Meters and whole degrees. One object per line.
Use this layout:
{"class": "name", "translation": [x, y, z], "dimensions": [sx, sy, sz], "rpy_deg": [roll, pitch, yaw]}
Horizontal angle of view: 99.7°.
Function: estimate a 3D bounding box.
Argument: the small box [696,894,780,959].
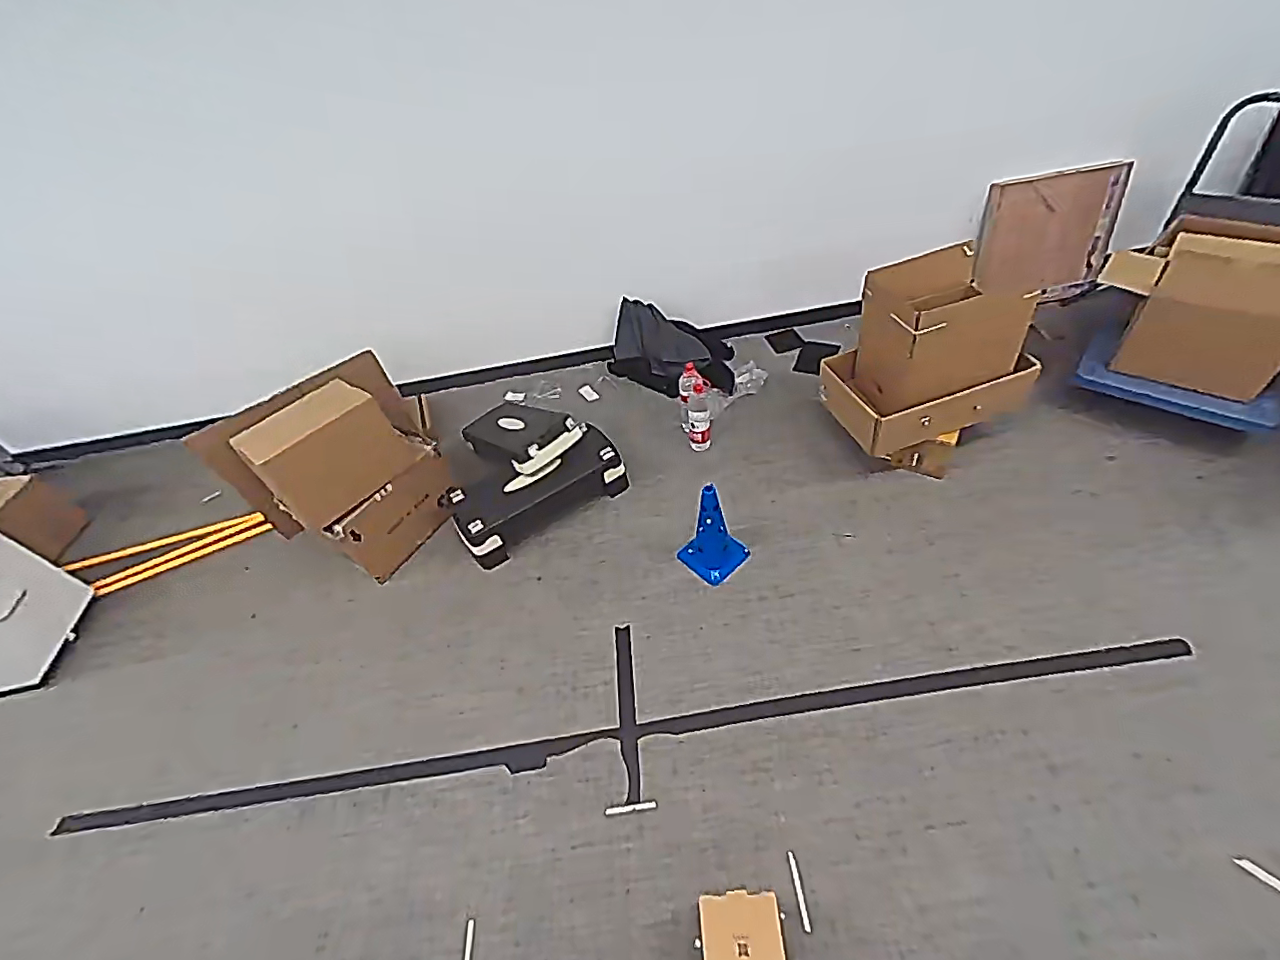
{"class": "small box", "translation": [0.214, 1.009, 1.160], "dimensions": [0.168, 0.176, 0.179], "rpy_deg": [-6, 46, 5]}
